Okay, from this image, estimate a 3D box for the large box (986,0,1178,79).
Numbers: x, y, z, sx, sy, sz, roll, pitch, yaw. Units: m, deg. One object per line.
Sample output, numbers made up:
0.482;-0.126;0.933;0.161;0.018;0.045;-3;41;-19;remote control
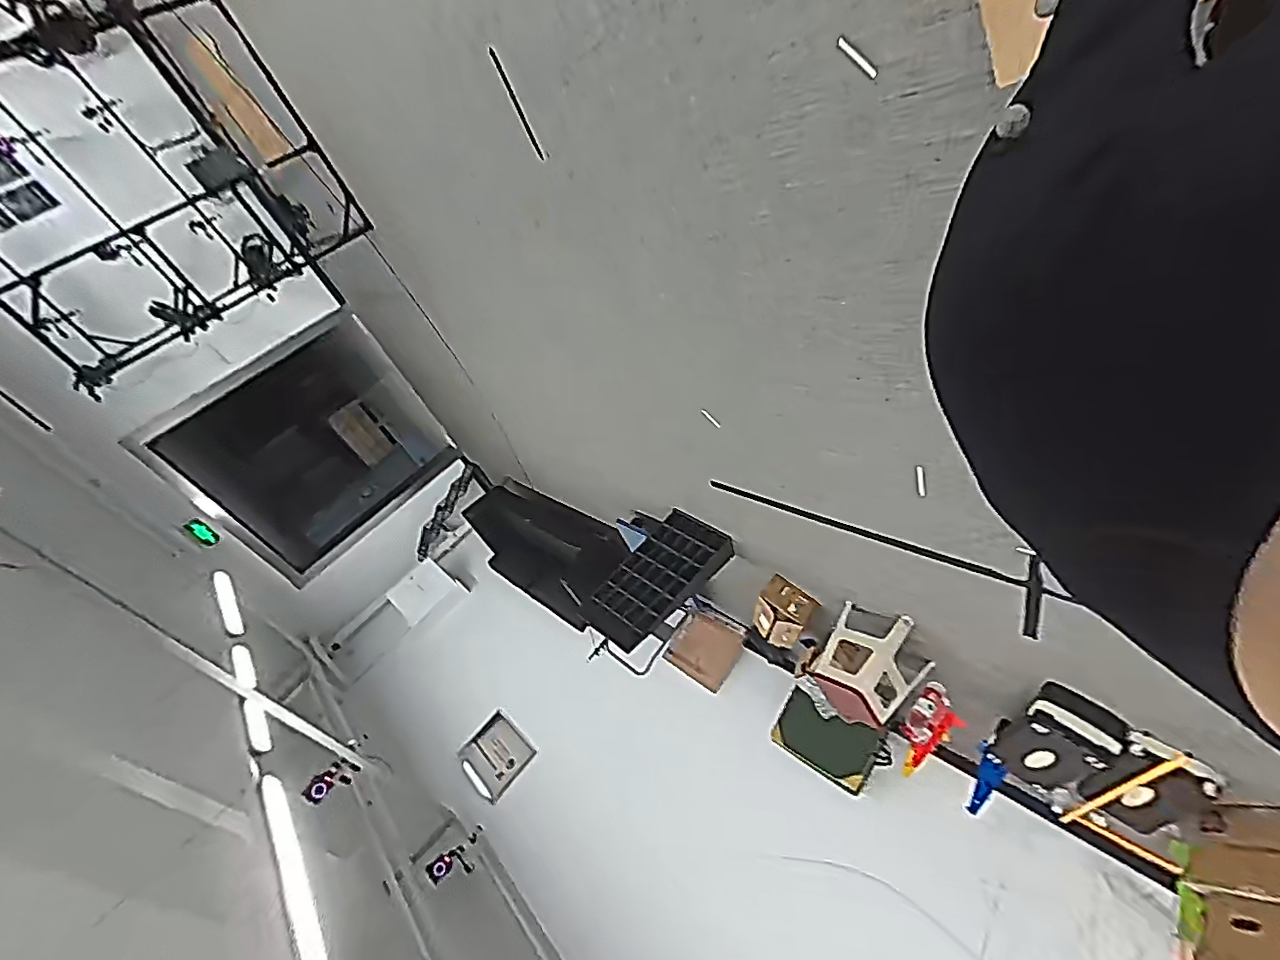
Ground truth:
0.731;-0.850;0.724;0.408;0.320;0.320;9;138;54;large box
